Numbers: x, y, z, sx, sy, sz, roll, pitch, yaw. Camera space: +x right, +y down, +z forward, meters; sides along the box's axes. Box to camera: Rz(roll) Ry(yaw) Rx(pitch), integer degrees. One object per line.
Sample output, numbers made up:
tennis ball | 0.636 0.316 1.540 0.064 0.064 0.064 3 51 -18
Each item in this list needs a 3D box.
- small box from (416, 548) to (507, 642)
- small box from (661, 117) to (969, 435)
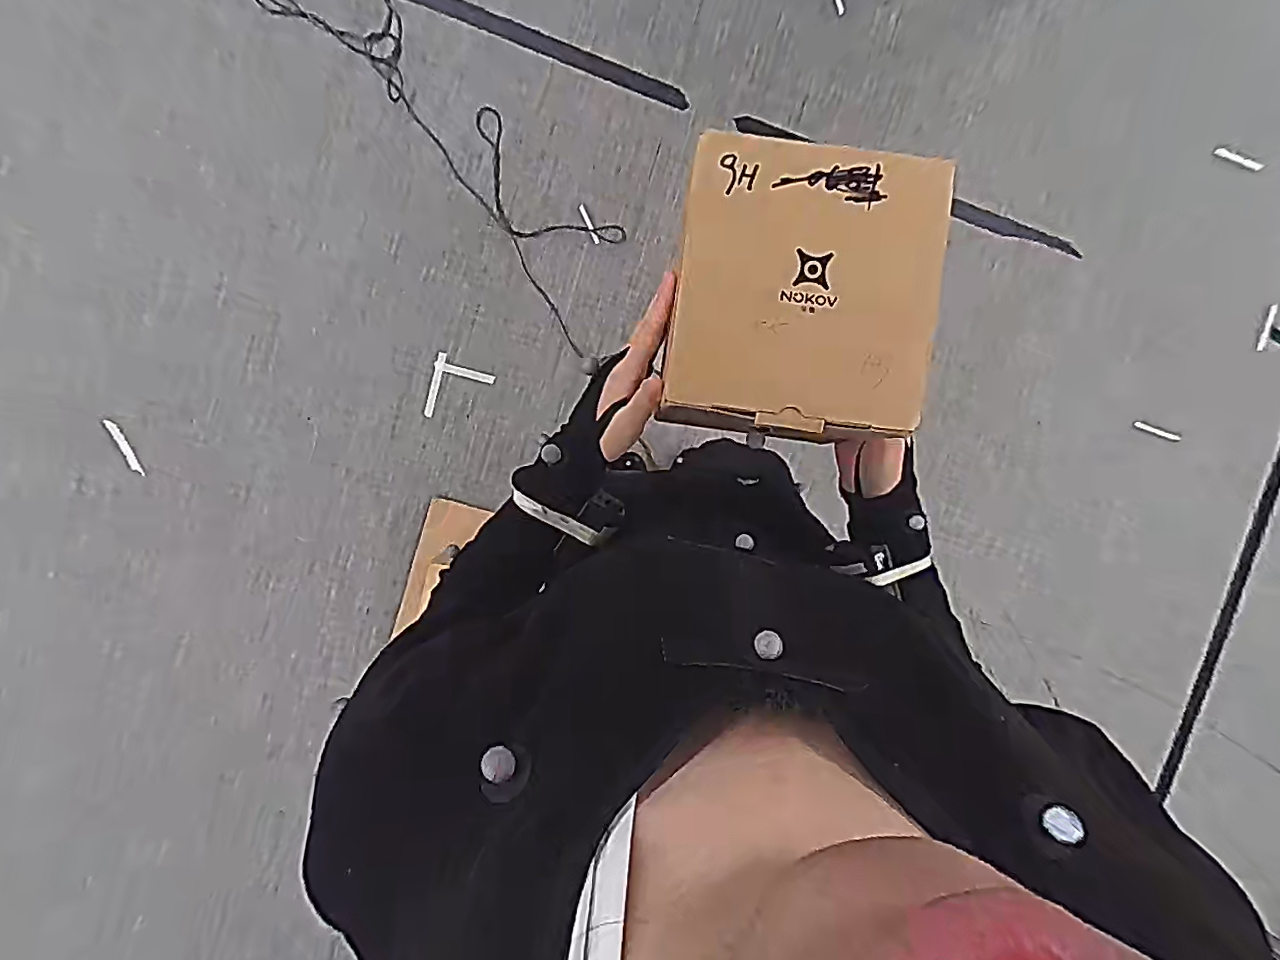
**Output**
small box | -0.442 0.283 1.369 0.168 0.176 0.179 14 93 -6
small box | 0.109 -0.130 0.414 0.168 0.176 0.179 7 93 -2
